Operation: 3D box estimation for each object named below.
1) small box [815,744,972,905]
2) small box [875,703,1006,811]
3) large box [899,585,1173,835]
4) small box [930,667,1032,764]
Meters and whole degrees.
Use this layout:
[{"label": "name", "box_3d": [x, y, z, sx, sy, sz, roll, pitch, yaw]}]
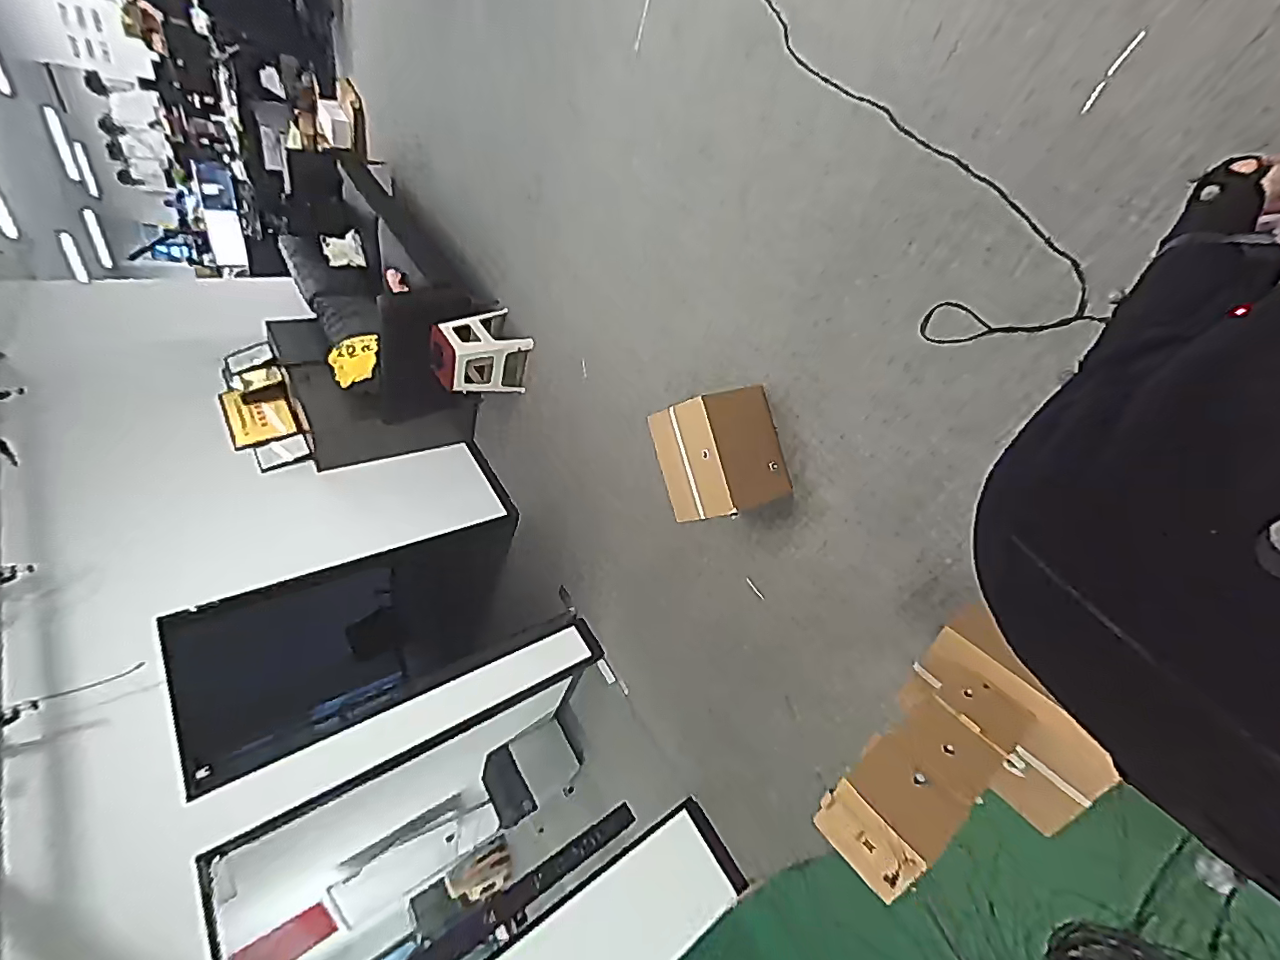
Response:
[{"label": "small box", "box_3d": [0.473, 0.631, 1.018, 0.179, 0.176, 0.168, 42, 134, 38]}, {"label": "small box", "box_3d": [0.601, 0.591, 1.113, 0.179, 0.176, 0.168, 40, 132, 38]}, {"label": "large box", "box_3d": [0.945, 0.532, 1.327, 0.408, 0.320, 0.320, 40, 134, 37]}, {"label": "small box", "box_3d": [0.731, 0.554, 1.205, 0.168, 0.176, 0.179, 42, 134, 37]}]
